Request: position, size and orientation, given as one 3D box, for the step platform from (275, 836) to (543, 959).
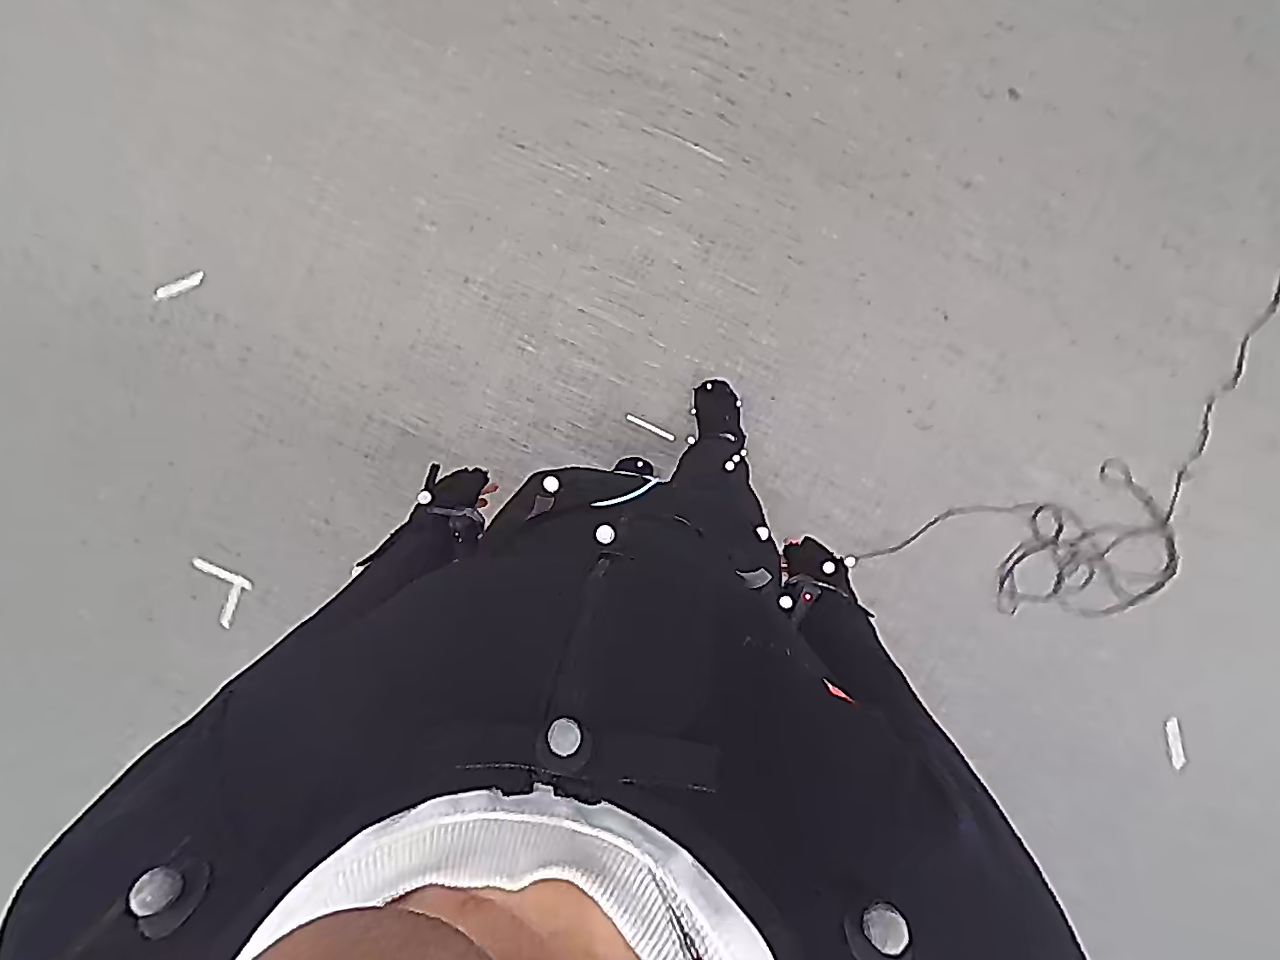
[{"bbox_3d":[-0.630,1.299,1.502,0.684,0.204,0.286,24,96,2],"label":"step platform"}]
